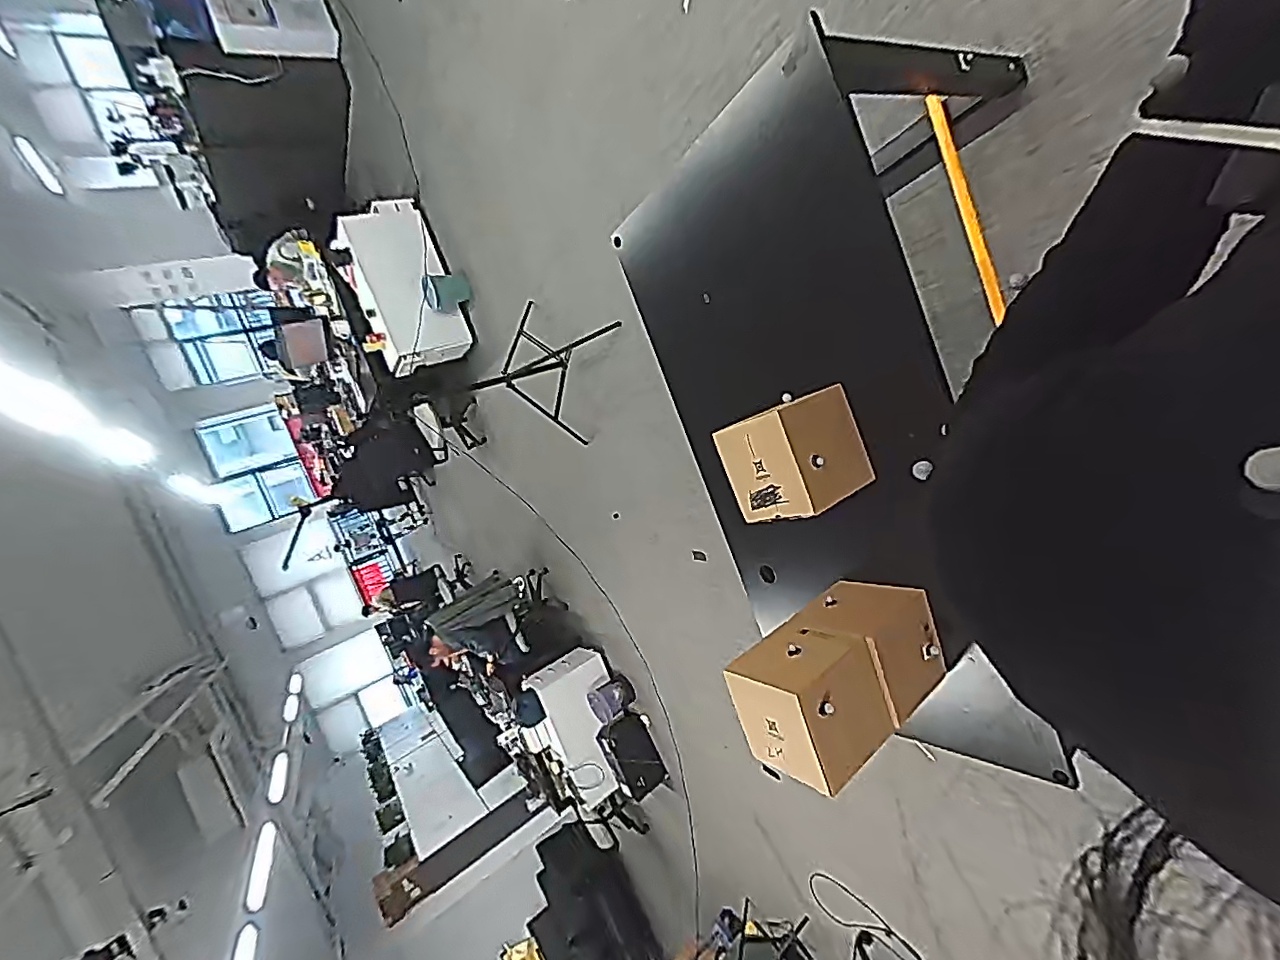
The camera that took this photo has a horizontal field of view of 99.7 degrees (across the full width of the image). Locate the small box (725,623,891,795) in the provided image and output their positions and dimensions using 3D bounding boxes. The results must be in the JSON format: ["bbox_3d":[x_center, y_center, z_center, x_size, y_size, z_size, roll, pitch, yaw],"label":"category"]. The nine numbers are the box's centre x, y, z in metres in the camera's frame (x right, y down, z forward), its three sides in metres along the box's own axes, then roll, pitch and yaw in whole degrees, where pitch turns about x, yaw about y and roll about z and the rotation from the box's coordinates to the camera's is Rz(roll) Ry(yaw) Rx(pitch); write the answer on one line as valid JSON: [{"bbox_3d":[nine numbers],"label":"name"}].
[{"bbox_3d":[0.276,0.357,0.884,0.168,0.176,0.179,-7,105,59],"label":"small box"}]

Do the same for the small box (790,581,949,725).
[{"bbox_3d":[0.407,0.293,0.962,0.179,0.176,0.168,-8,105,58],"label":"small box"}]

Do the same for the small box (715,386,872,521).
[{"bbox_3d":[0.268,-0.044,0.939,0.168,0.176,0.179,-16,97,59],"label":"small box"}]
